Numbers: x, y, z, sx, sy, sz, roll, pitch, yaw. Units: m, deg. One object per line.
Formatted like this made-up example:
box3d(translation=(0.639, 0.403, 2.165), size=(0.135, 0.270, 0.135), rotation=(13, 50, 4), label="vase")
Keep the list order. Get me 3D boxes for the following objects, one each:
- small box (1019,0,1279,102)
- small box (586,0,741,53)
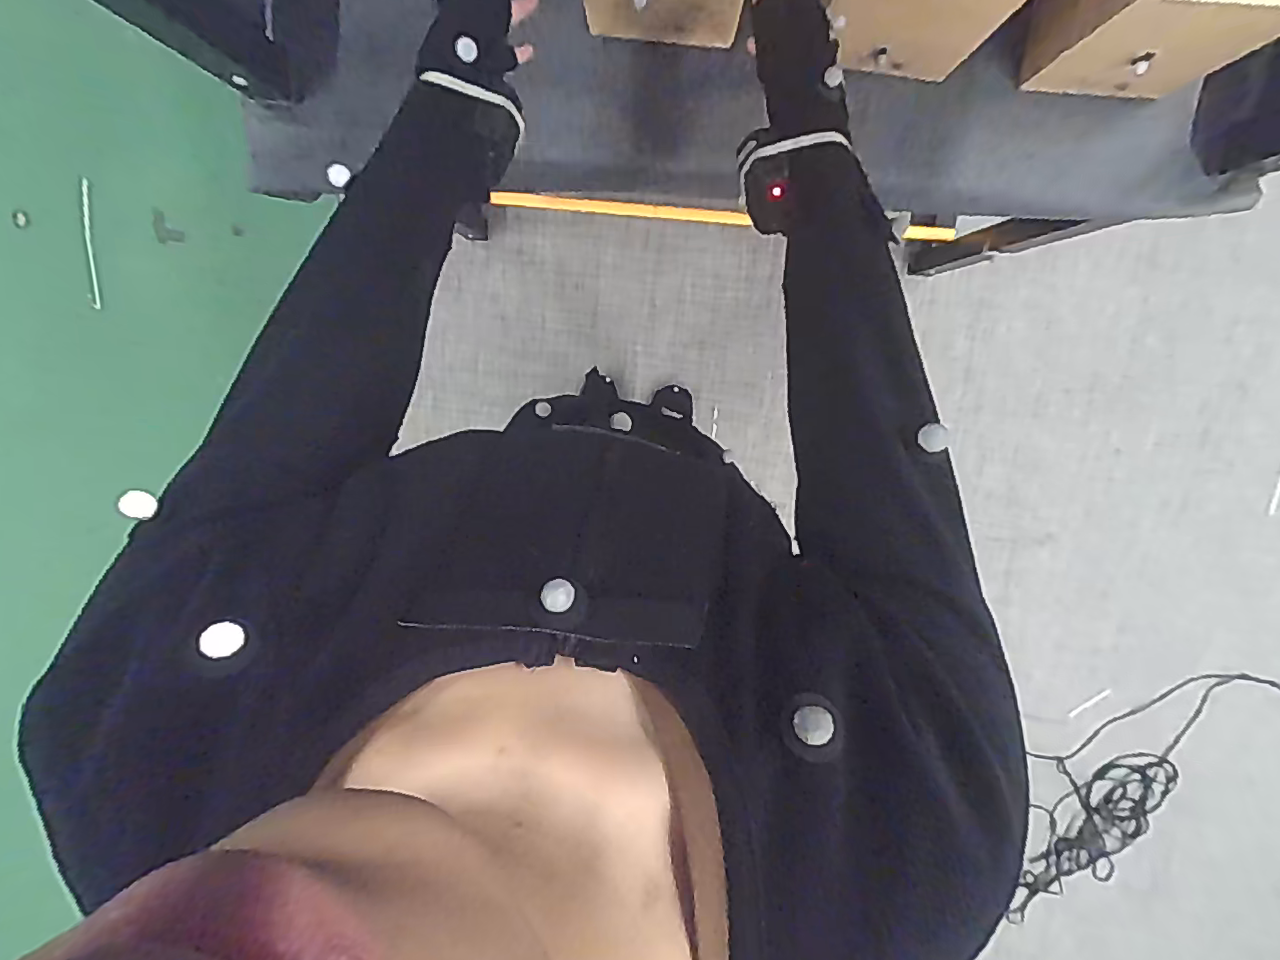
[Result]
box3d(translation=(0.519, -0.509, 0.534), size=(0.168, 0.176, 0.179), rotation=(4, 102, 1), label="small box")
box3d(translation=(0.030, -0.568, 0.536), size=(0.168, 0.176, 0.179), rotation=(5, 102, 0), label="small box")
